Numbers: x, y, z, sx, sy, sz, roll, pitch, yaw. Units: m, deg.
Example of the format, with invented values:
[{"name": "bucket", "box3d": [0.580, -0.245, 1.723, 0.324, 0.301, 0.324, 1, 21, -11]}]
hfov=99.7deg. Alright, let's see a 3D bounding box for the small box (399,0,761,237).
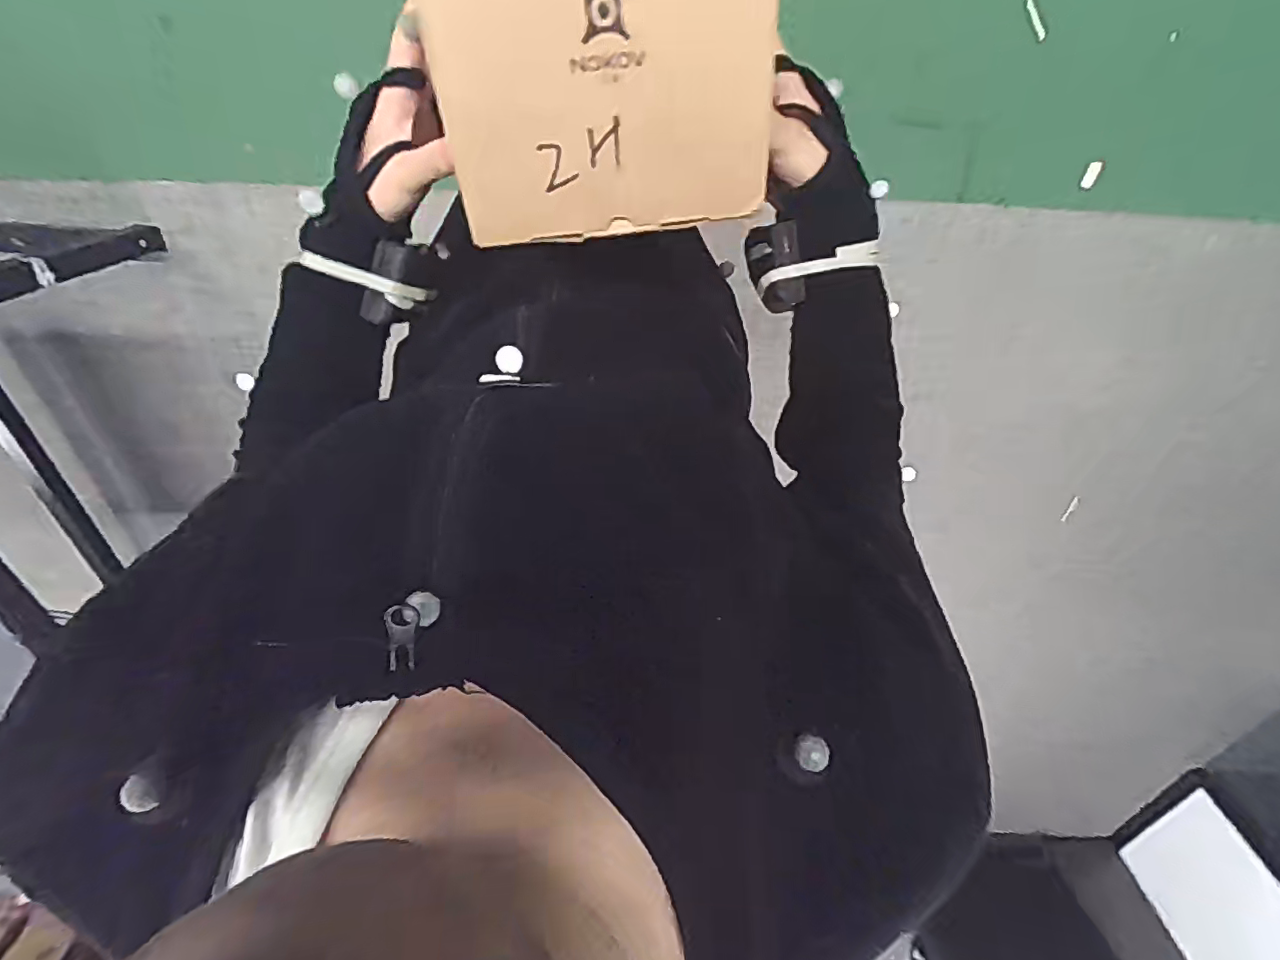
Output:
[{"name": "small box", "box3d": [-0.034, -0.258, 0.310, 0.168, 0.176, 0.179, -8, 127, -2]}]
